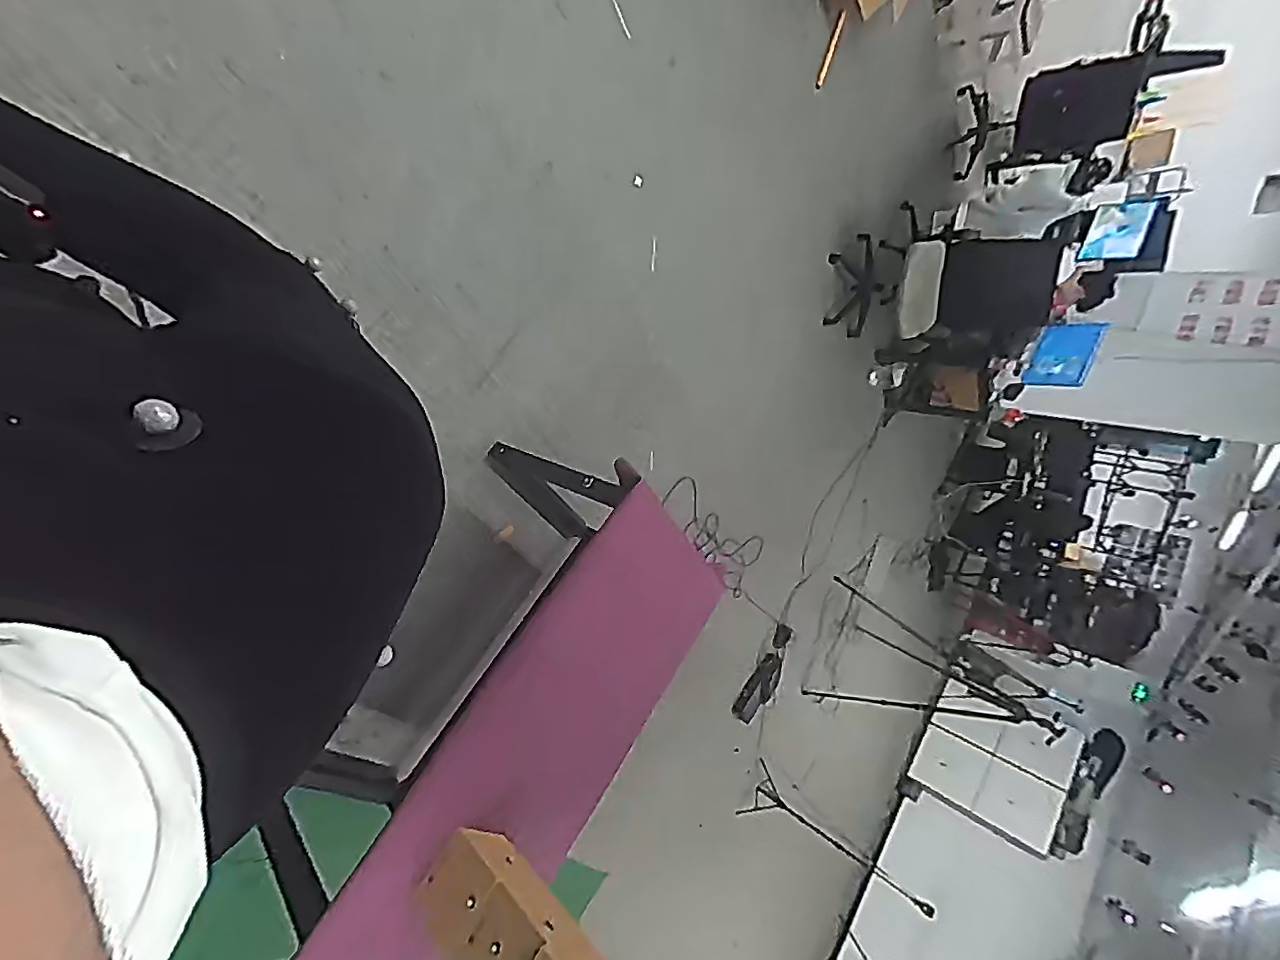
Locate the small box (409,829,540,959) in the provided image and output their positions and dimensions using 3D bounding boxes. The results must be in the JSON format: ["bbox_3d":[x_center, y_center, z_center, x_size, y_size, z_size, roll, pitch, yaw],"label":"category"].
[{"bbox_3d":[-0.363,0.905,1.189,0.168,0.176,0.179,-56,137,-18],"label":"small box"}]

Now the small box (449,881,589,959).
[{"bbox_3d":[-0.243,0.946,1.082,0.168,0.176,0.179,-53,136,-19],"label":"small box"}]
